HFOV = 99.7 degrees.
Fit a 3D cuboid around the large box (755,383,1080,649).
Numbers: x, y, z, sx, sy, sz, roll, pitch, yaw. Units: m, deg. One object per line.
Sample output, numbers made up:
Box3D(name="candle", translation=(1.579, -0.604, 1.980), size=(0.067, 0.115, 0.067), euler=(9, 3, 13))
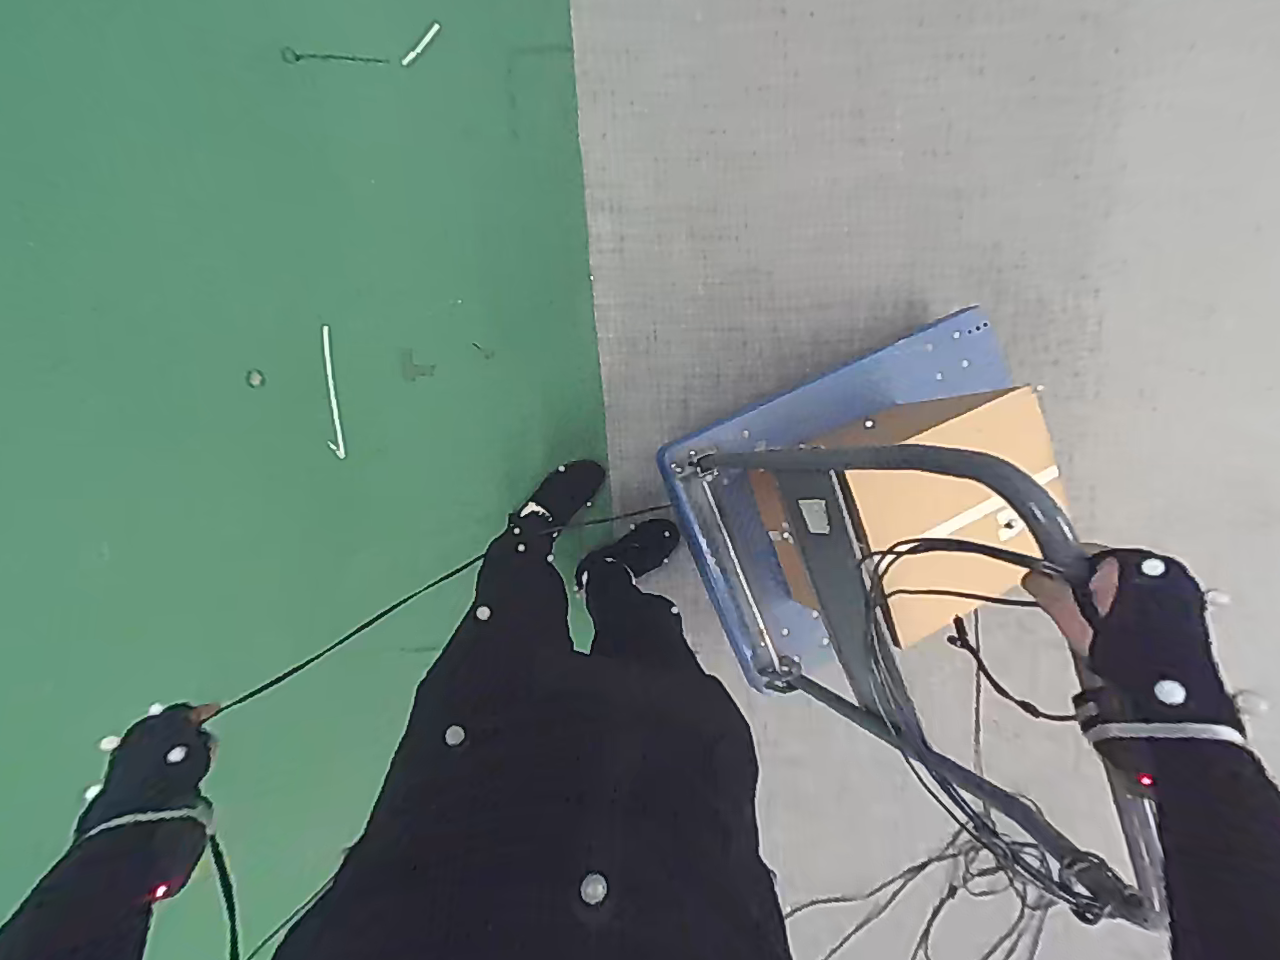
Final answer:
Box3D(name="large box", translation=(0.497, 0.049, 1.014), size=(0.408, 0.320, 0.320), euler=(-22, 99, -15))
